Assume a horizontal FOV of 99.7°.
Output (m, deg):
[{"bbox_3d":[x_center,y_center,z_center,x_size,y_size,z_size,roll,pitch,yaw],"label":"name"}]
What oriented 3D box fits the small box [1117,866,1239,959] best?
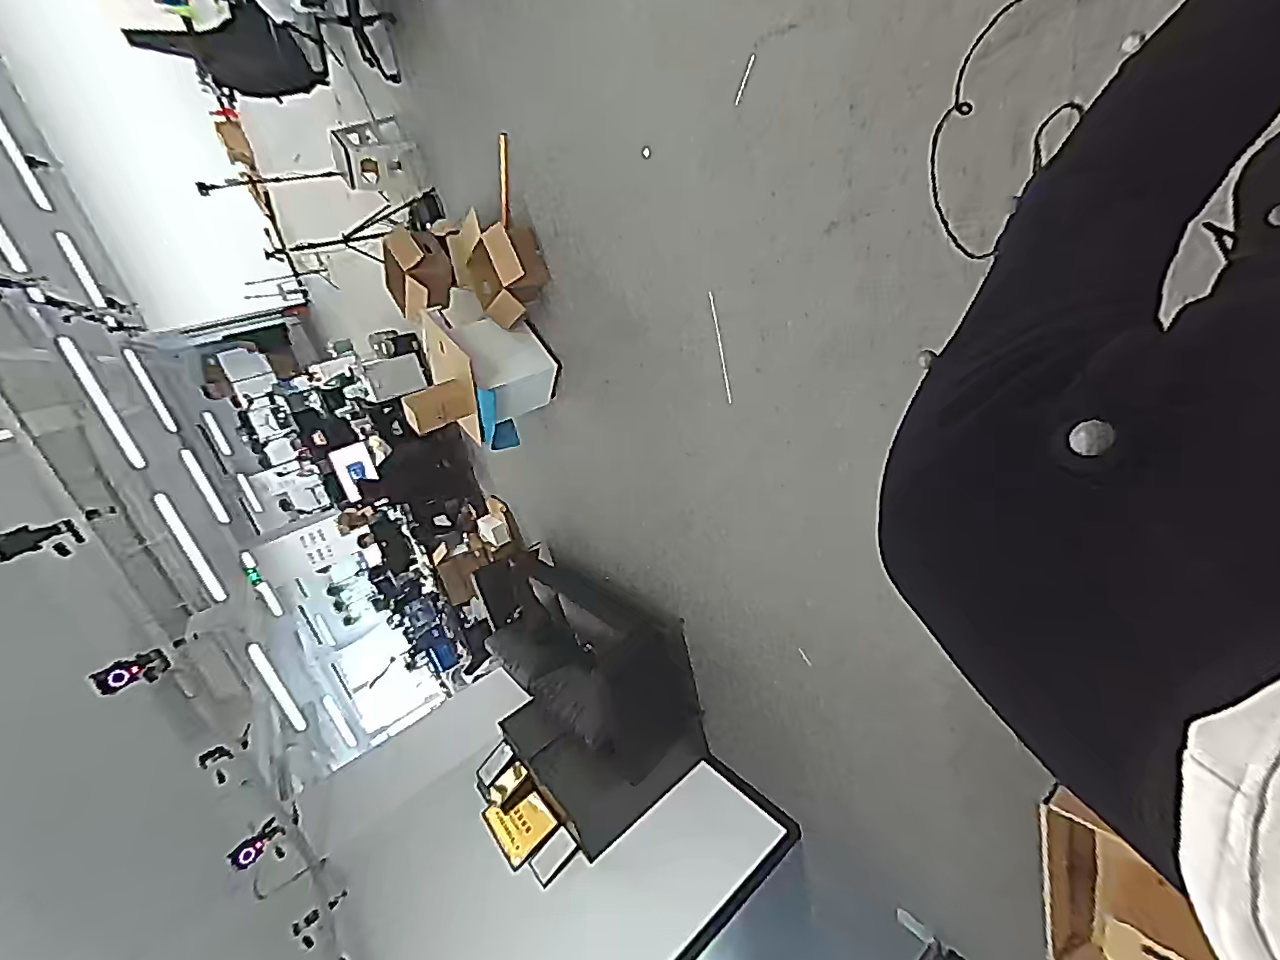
[{"bbox_3d":[1.203,1.026,1.211,0.168,0.176,0.179,12,125,53],"label":"small box"}]
